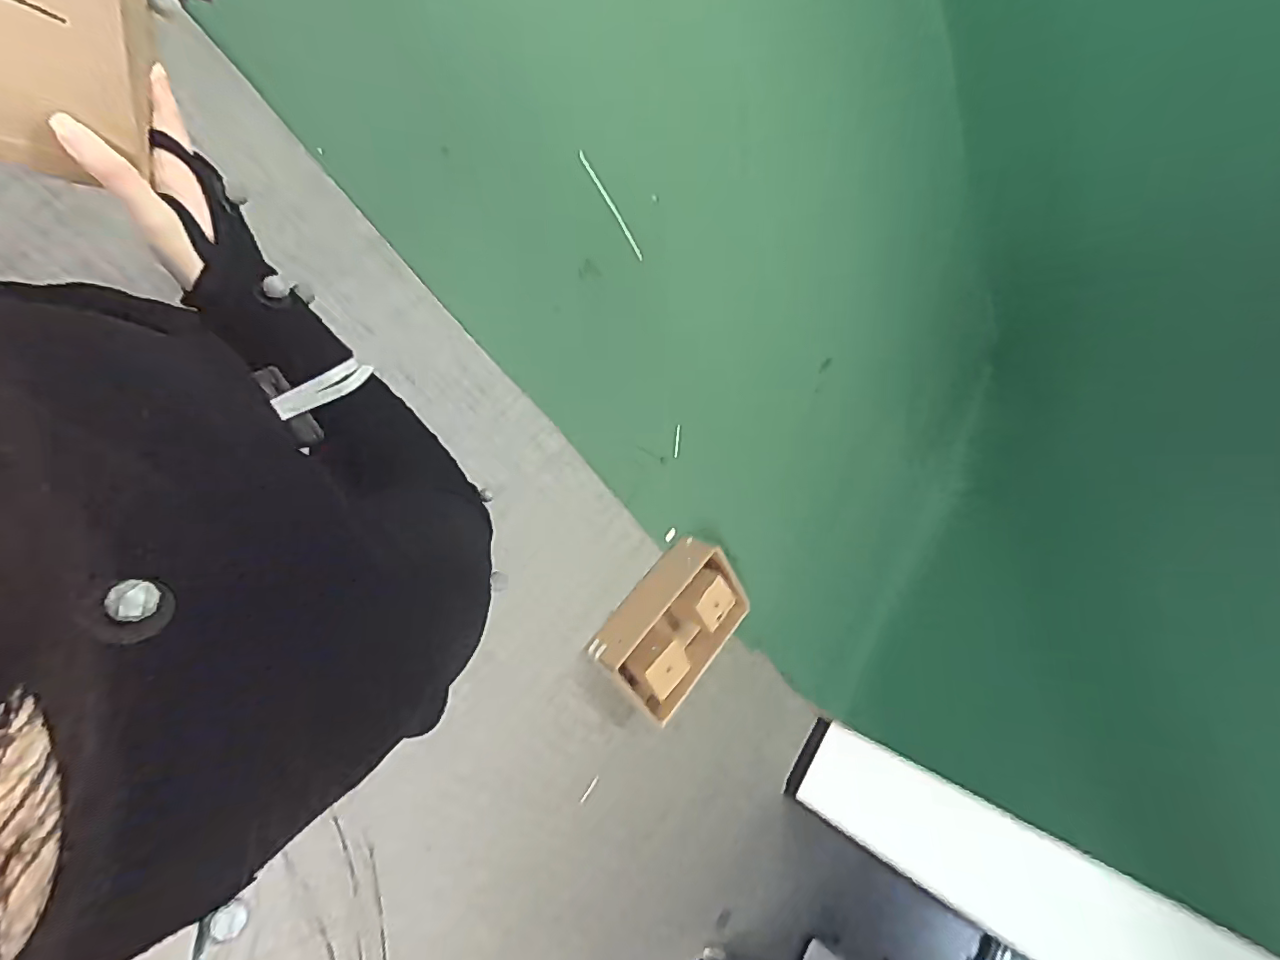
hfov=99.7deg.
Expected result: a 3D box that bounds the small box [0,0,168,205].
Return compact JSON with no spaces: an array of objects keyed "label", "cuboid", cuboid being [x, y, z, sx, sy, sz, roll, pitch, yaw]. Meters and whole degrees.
[{"label":"small box","cuboid":[-0.360,-0.276,0.269,0.179,0.176,0.168,-2,138,-38]}]
